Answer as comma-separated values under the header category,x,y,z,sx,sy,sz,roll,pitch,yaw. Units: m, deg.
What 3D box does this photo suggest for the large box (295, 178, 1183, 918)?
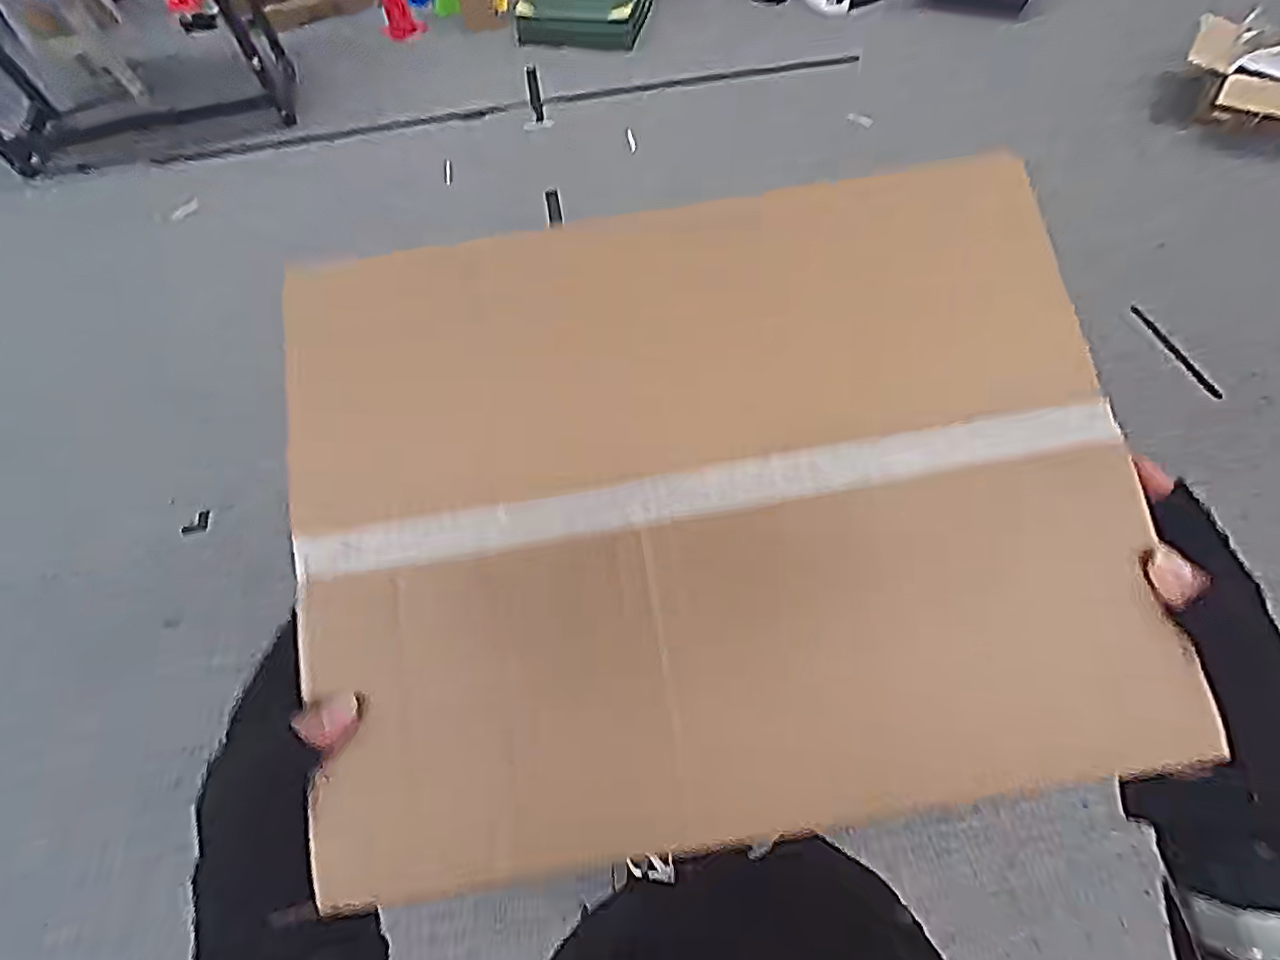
category,x,y,z,sx,sy,sz,roll,pitch,yaw
large box,0.036,0.040,0.418,0.408,0.320,0.320,-10,79,0
